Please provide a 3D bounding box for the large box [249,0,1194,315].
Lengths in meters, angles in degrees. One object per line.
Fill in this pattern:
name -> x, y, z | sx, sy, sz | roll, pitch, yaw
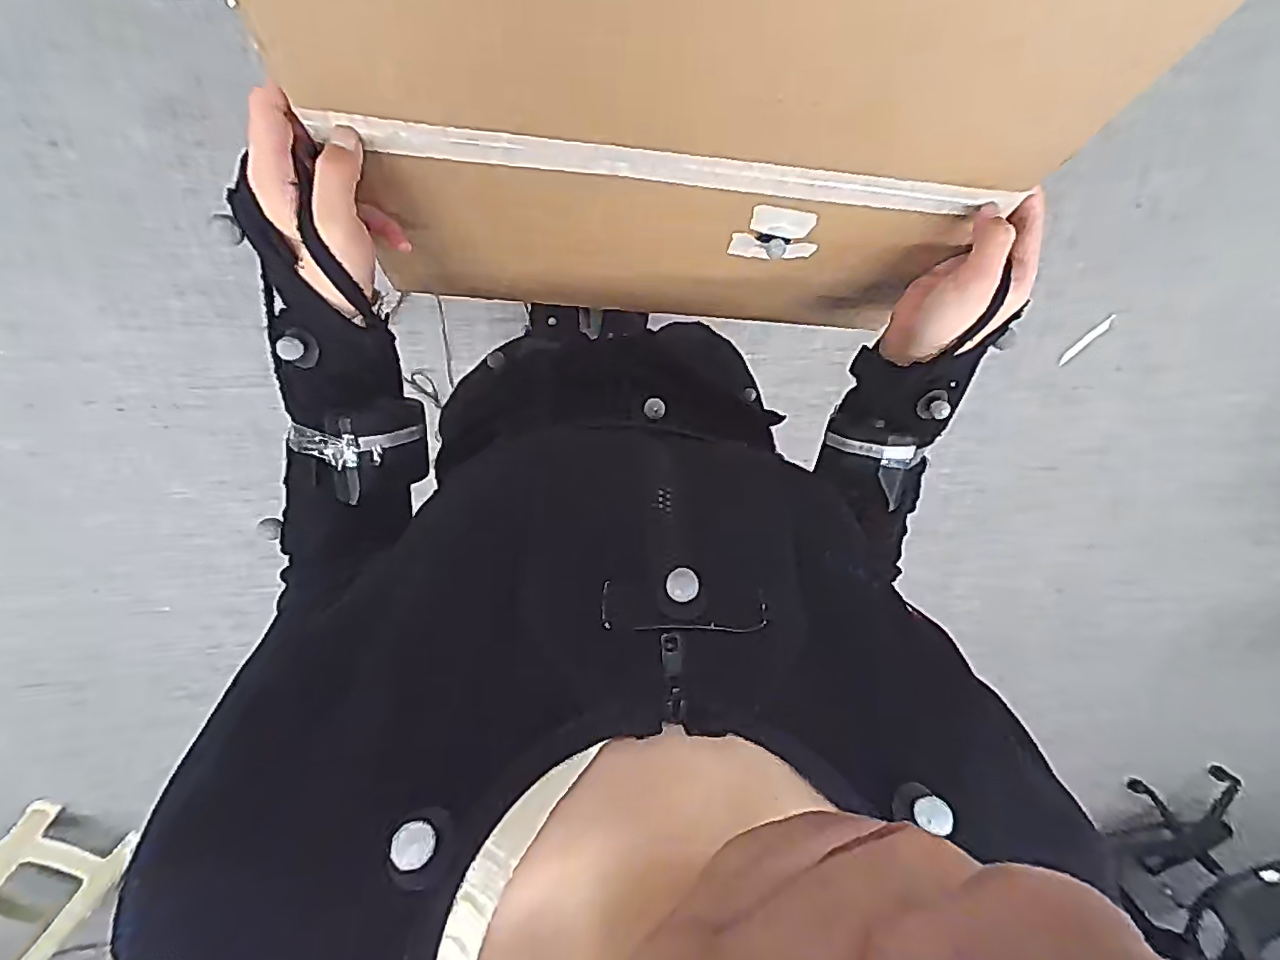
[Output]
large box -> 0.021, -0.328, 0.341 | 0.408, 0.320, 0.320 | 1, 78, -8
